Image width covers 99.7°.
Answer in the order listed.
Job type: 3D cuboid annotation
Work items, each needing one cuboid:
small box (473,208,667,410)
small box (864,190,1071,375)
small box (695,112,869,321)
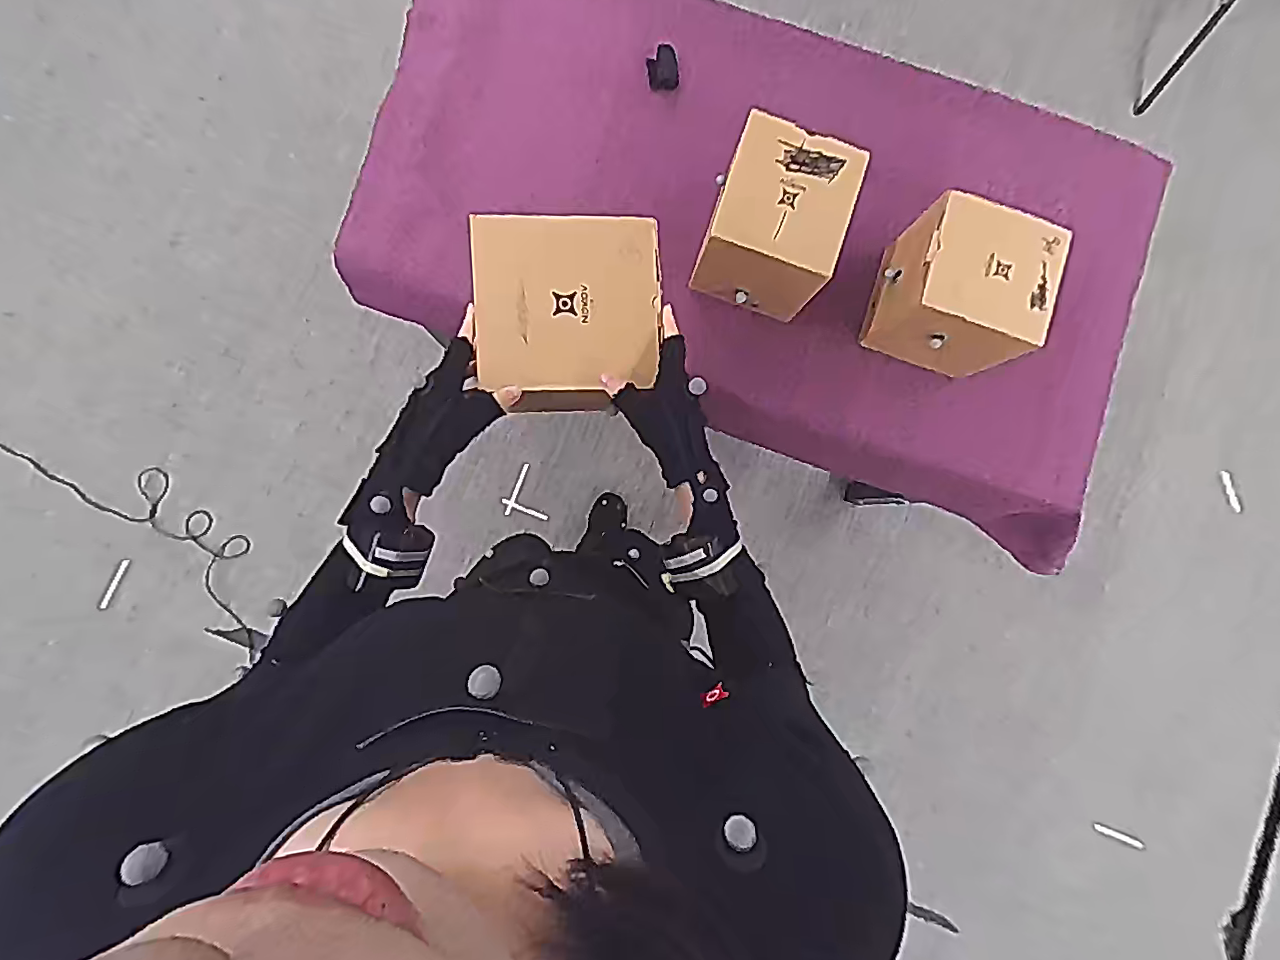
[{"bbox_3d":[-0.072,-0.169,0.582,0.179,0.176,0.168,-3,89,-6],"label":"small box"},{"bbox_3d":[0.453,-0.268,0.774,0.179,0.176,0.168,18,85,-2],"label":"small box"},{"bbox_3d":[0.186,-0.356,0.762,0.168,0.176,0.179,19,85,-2],"label":"small box"}]
